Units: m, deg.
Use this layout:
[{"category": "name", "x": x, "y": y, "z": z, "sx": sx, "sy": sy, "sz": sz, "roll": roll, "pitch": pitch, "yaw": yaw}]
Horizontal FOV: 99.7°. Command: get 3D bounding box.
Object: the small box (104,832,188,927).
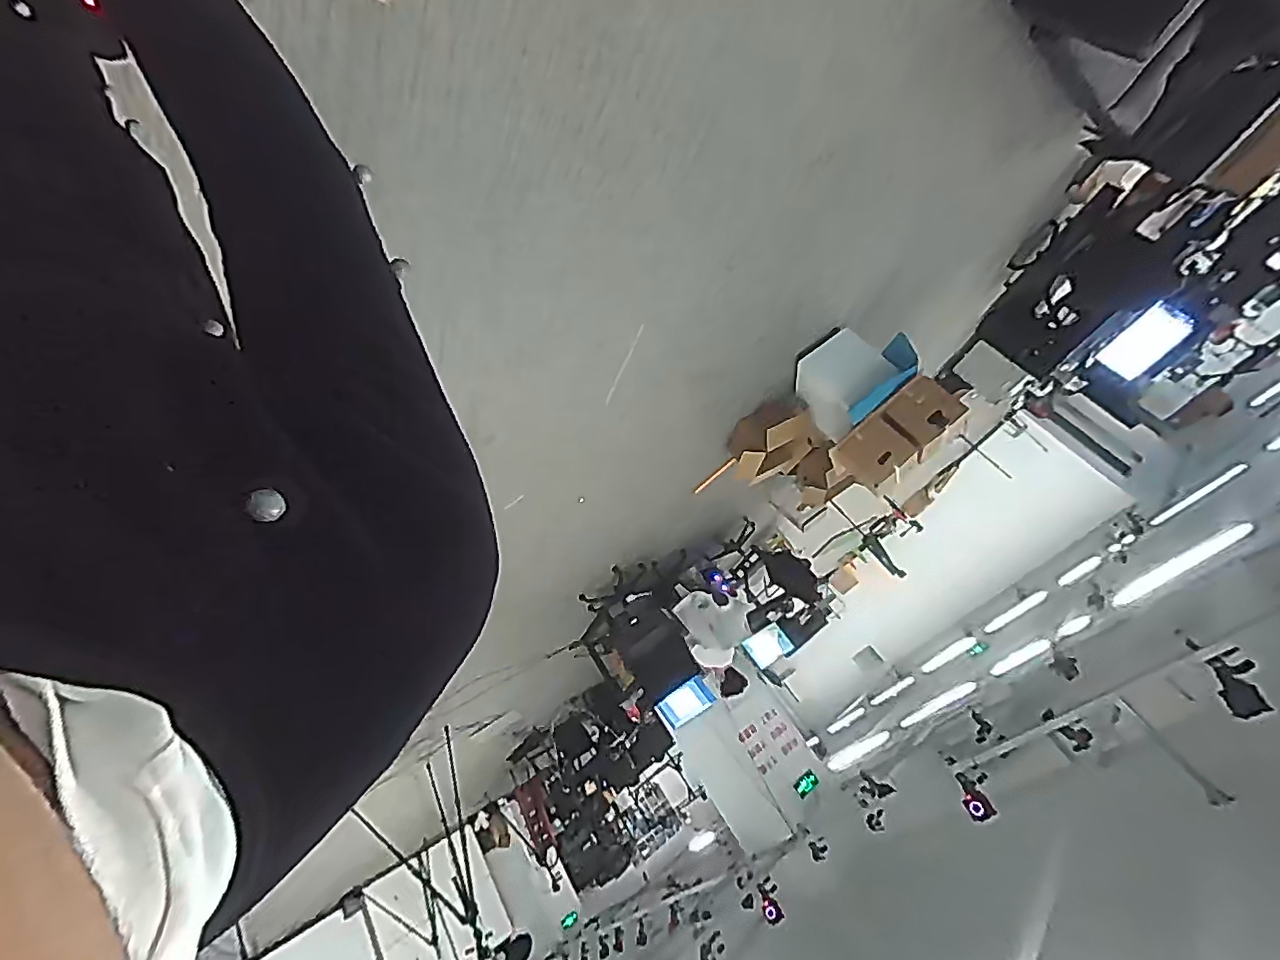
[{"category": "small box", "x": -1.552, "y": 1.251, "z": 1.703, "sx": 0.168, "sy": 0.176, "sz": 0.179, "roll": -14, "pitch": 145, "yaw": -41}]
